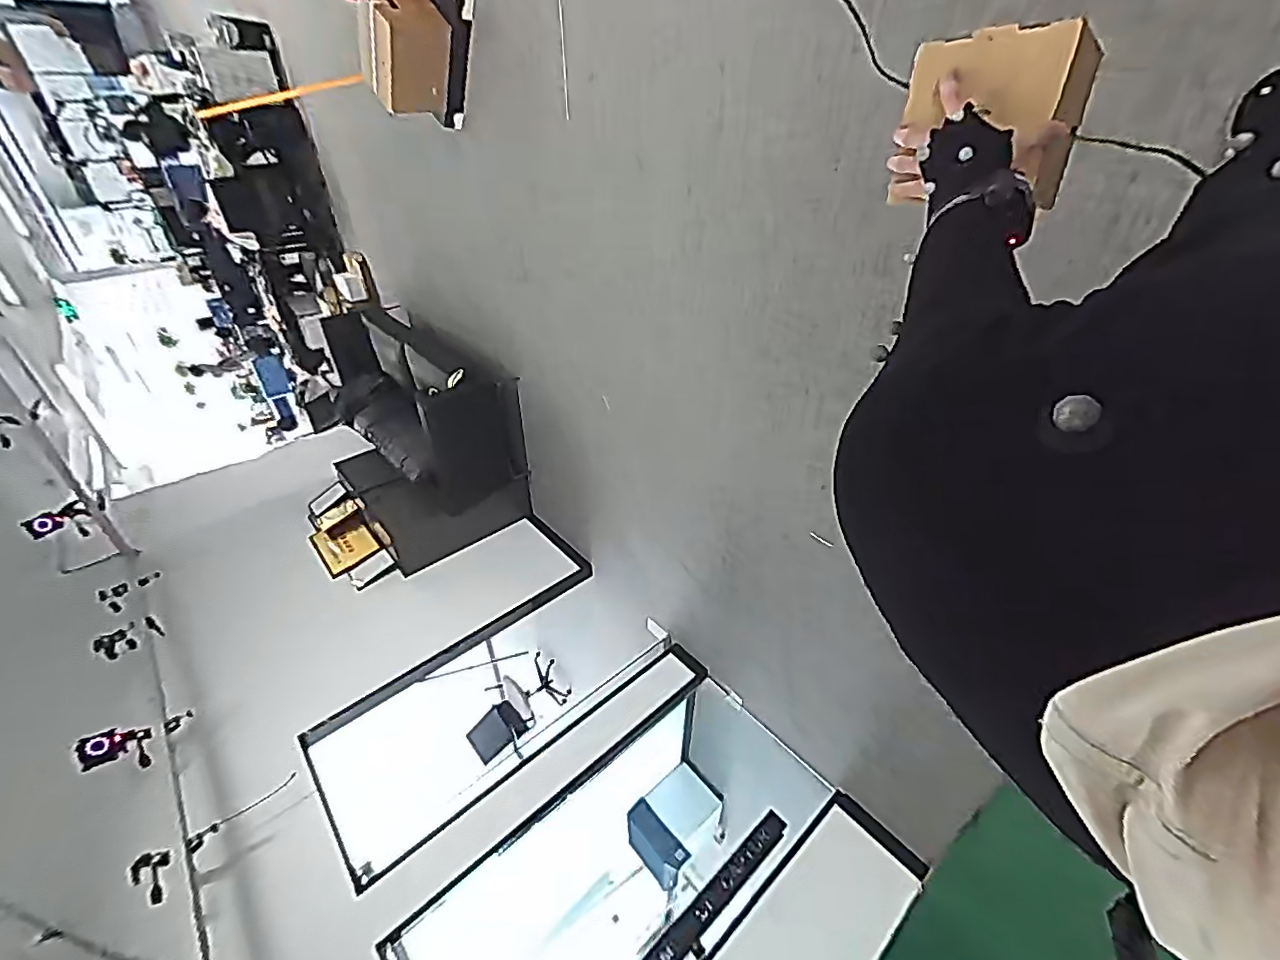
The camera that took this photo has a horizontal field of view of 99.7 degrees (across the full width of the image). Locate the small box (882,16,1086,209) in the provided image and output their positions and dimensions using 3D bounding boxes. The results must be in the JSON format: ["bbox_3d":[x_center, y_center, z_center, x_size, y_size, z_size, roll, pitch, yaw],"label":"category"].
[{"bbox_3d":[0.443,-0.453,0.698,0.168,0.176,0.179,24,124,38],"label":"small box"}]
